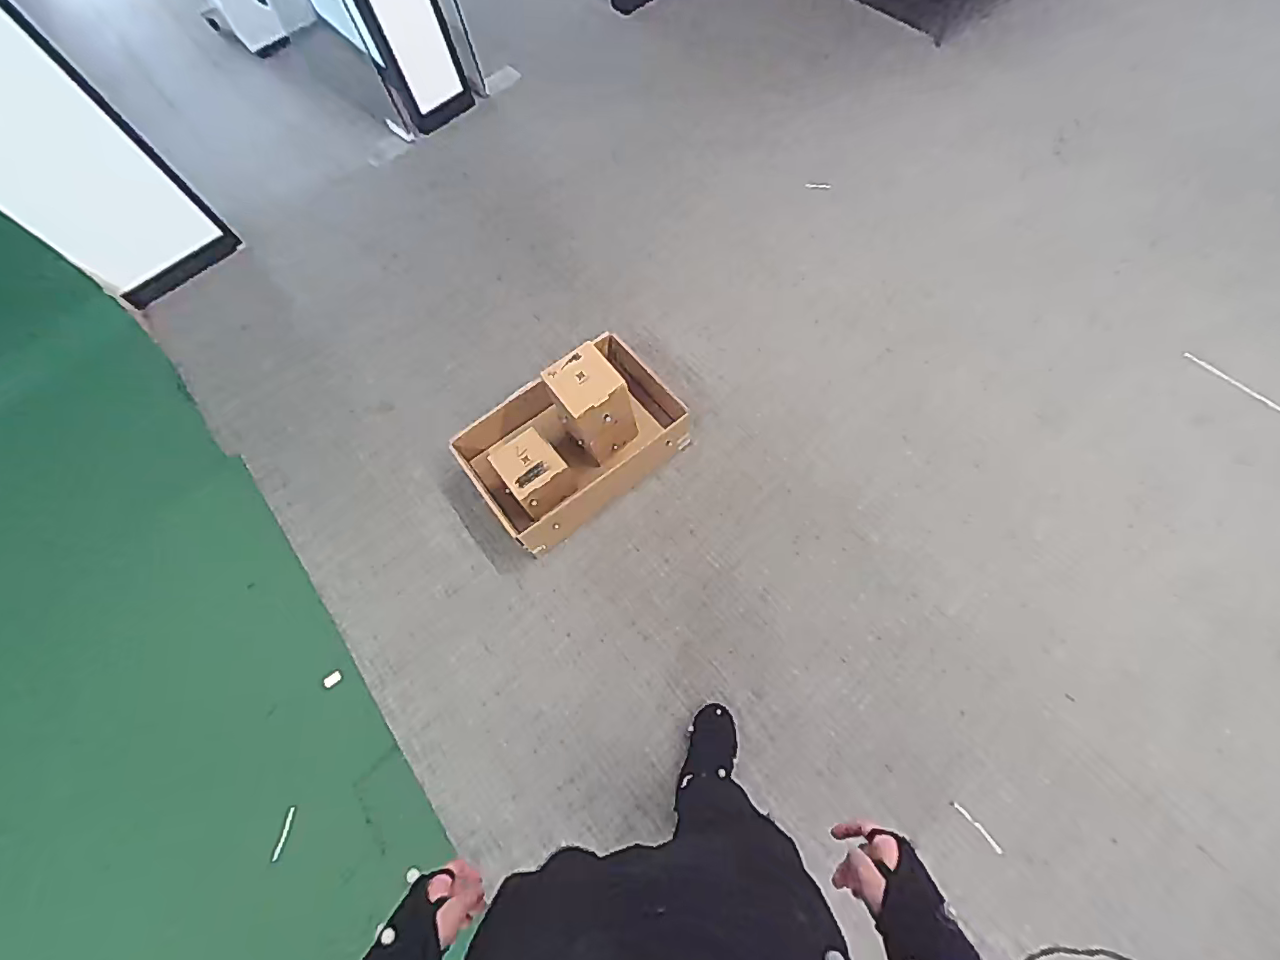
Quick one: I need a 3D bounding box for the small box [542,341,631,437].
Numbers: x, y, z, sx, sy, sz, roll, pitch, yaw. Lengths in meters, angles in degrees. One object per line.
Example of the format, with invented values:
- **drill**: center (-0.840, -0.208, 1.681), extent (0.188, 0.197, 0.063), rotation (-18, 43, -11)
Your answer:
- **small box**: center (-0.139, -0.238, 1.485), extent (0.168, 0.176, 0.179), rotation (-35, 70, -8)
